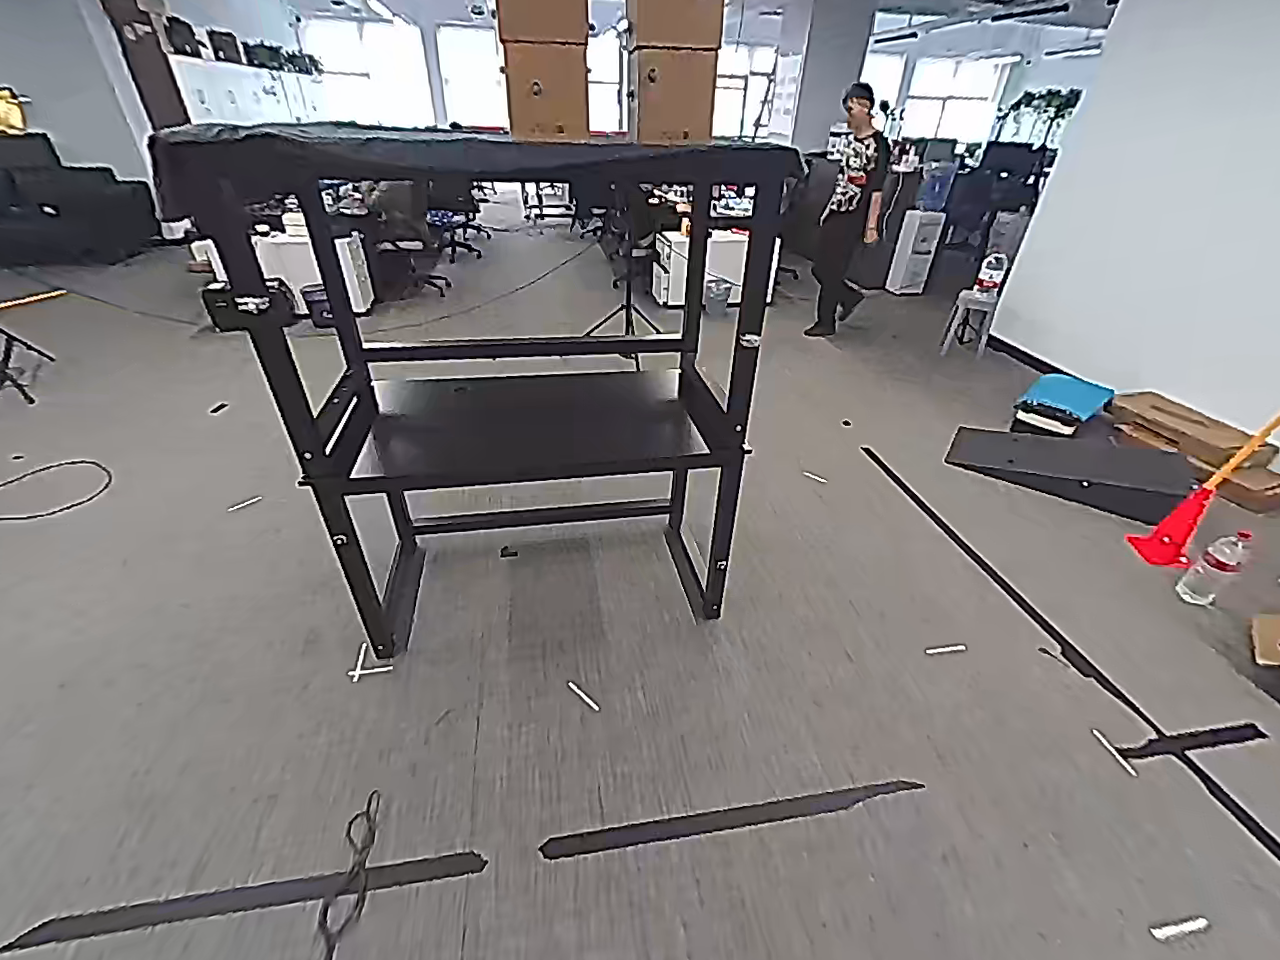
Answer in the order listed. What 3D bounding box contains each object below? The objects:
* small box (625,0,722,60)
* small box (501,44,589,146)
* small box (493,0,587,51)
[{"bbox_3d":[0.065,-0.963,1.091,0.179,0.176,0.168,-5,32,-8],"label":"small box"},{"bbox_3d":[-0.198,-0.818,1.160,0.168,0.176,0.179,-3,33,-7],"label":"small box"},{"bbox_3d":[-0.194,-0.950,1.062,0.179,0.176,0.168,-4,32,-6],"label":"small box"}]
